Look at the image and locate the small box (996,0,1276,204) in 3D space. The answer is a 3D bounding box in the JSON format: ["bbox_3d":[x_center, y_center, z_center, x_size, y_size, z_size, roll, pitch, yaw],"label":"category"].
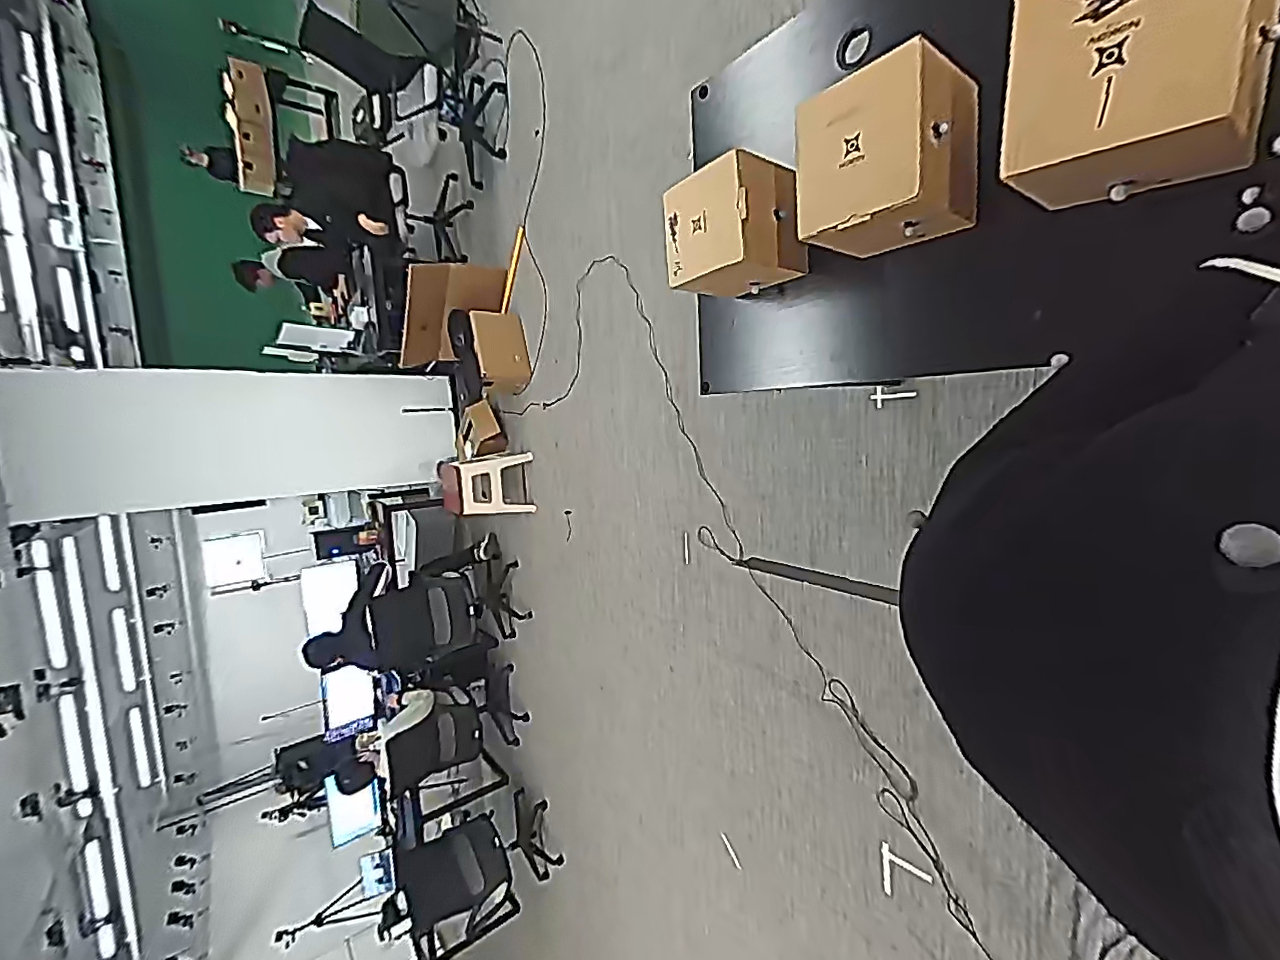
[{"bbox_3d":[0.475,-0.393,0.521,0.168,0.176,0.179,12,106,51],"label":"small box"}]

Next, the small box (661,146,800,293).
[{"bbox_3d":[0.158,-0.428,0.922,0.179,0.176,0.168,2,97,51],"label":"small box"}]

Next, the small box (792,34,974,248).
[{"bbox_3d":[0.322,-0.422,0.716,0.168,0.176,0.179,4,98,51],"label":"small box"}]
